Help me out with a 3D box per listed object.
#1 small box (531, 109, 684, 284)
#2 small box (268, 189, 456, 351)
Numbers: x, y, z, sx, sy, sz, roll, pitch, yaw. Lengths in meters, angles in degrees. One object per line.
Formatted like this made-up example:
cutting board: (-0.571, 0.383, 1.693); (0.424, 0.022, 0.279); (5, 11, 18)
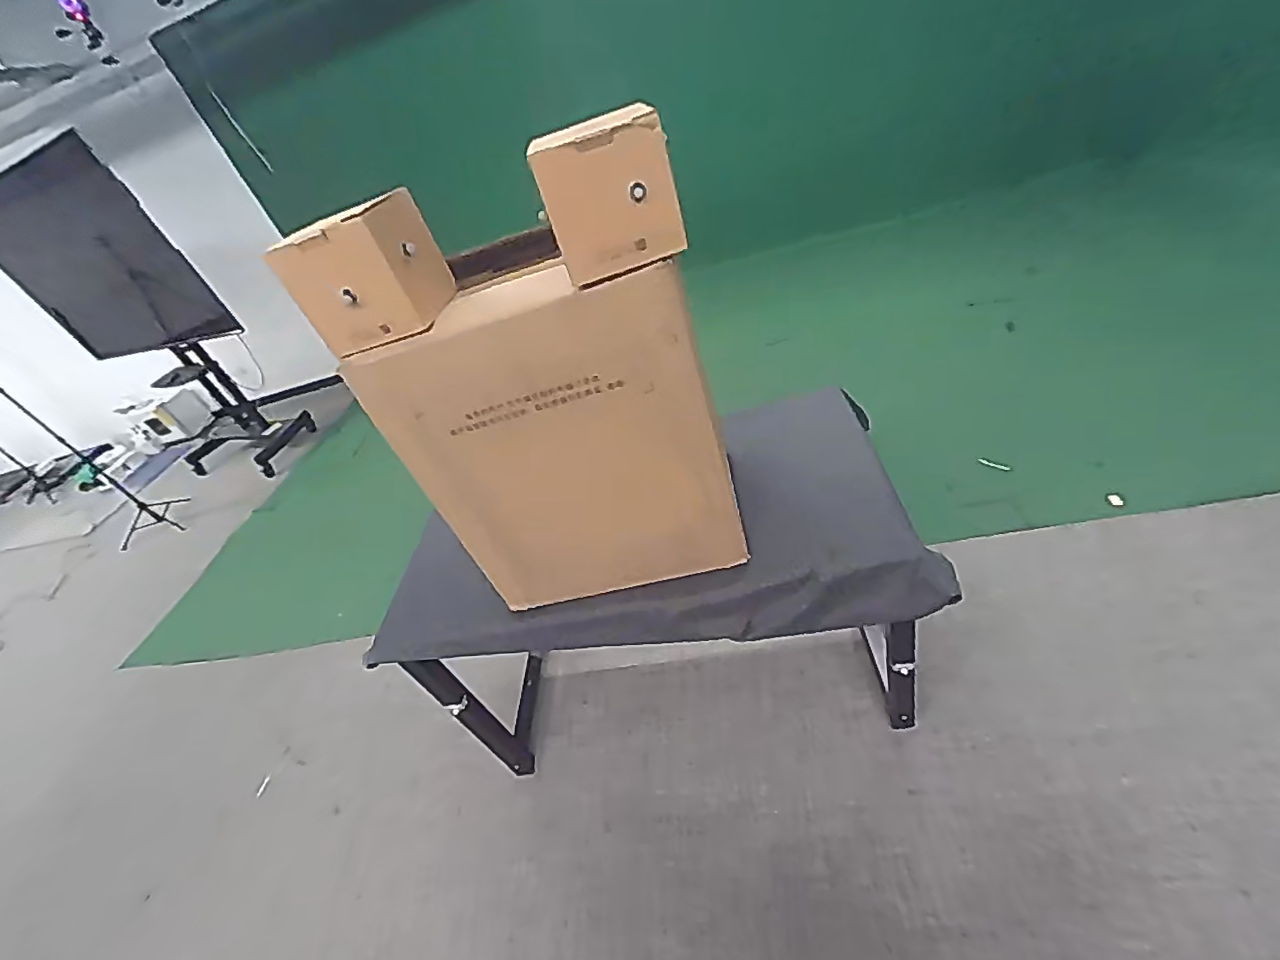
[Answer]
small box: (-0.043, -0.394, 0.759); (0.168, 0.176, 0.179); (-16, 37, 3)
small box: (-0.412, -0.318, 0.840); (0.168, 0.176, 0.179); (-13, 38, 11)
